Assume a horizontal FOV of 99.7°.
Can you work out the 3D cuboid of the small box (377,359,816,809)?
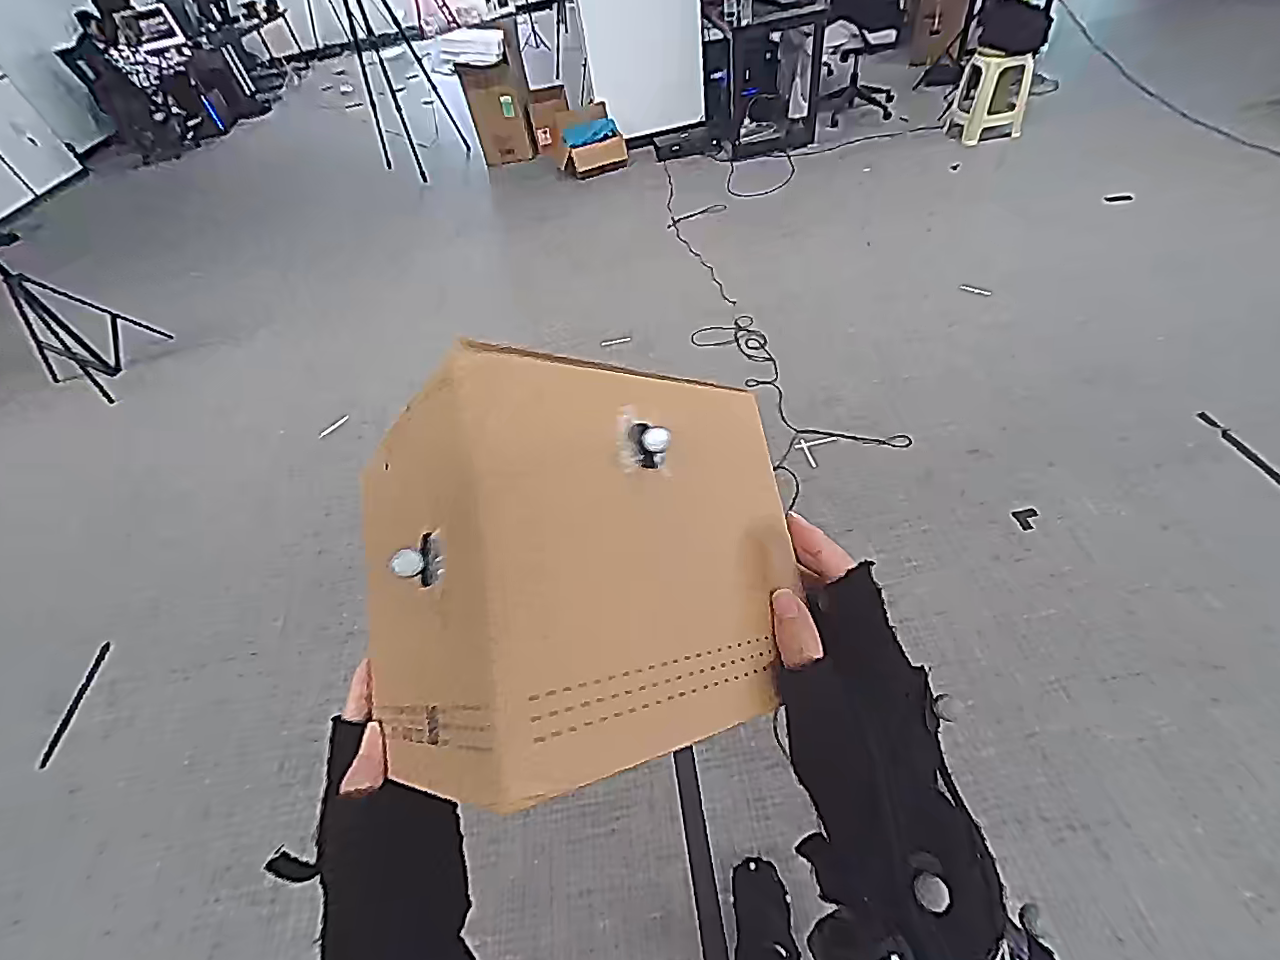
[{"bbox_3d":[-0.031,0.055,0.298,0.179,0.168,0.176,0,72,-36],"label":"small box"}]
